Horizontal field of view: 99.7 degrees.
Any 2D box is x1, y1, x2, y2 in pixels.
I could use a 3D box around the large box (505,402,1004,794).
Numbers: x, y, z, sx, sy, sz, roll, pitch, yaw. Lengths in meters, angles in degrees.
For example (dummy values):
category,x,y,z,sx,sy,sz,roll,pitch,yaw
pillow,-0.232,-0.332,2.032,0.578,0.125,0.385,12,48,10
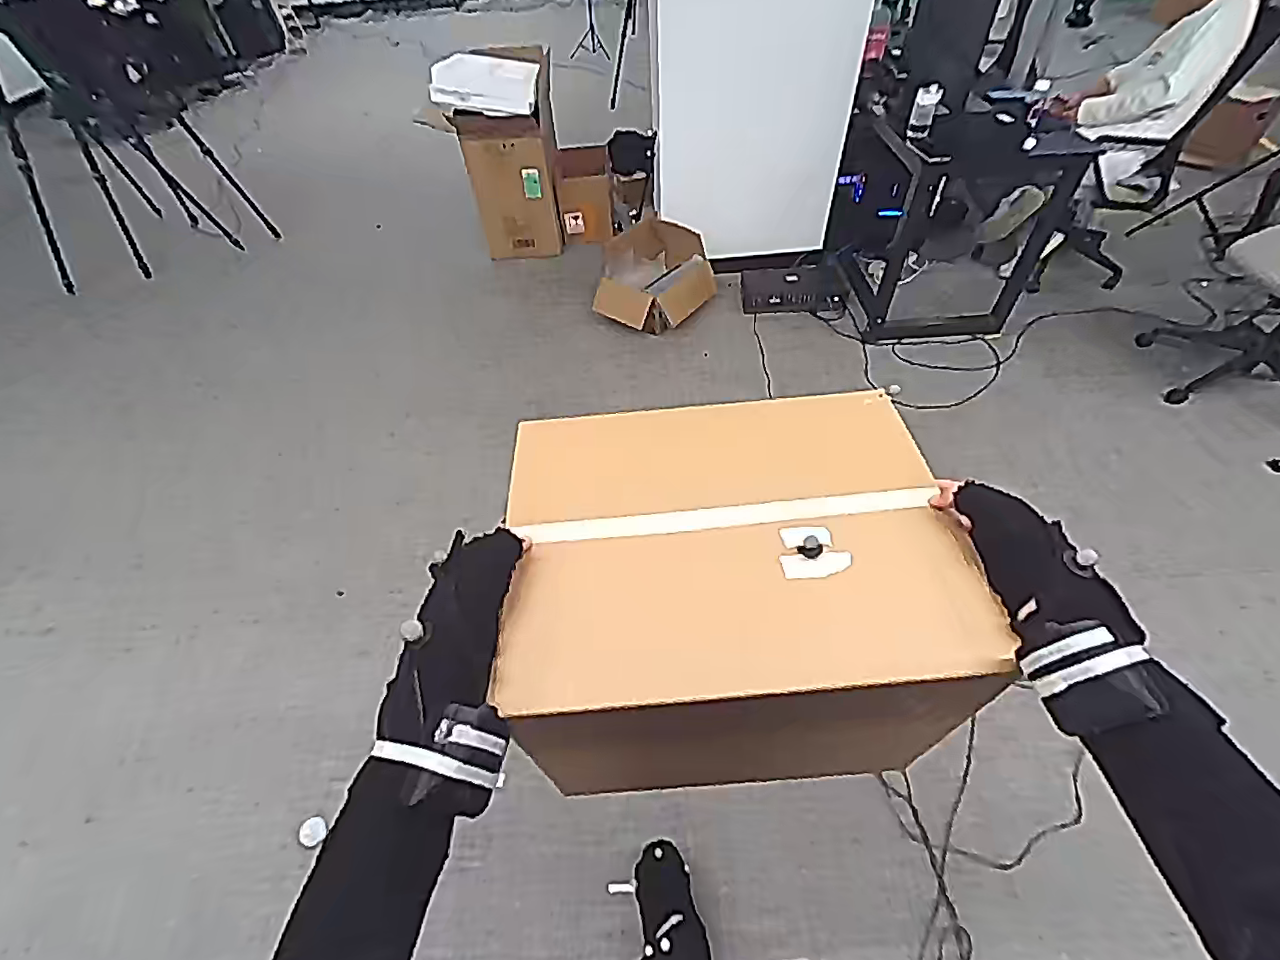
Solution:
category,x,y,z,sx,sy,sz,roll,pitch,yaw
large box,0.087,0.143,0.629,0.408,0.320,0.320,-5,50,1
